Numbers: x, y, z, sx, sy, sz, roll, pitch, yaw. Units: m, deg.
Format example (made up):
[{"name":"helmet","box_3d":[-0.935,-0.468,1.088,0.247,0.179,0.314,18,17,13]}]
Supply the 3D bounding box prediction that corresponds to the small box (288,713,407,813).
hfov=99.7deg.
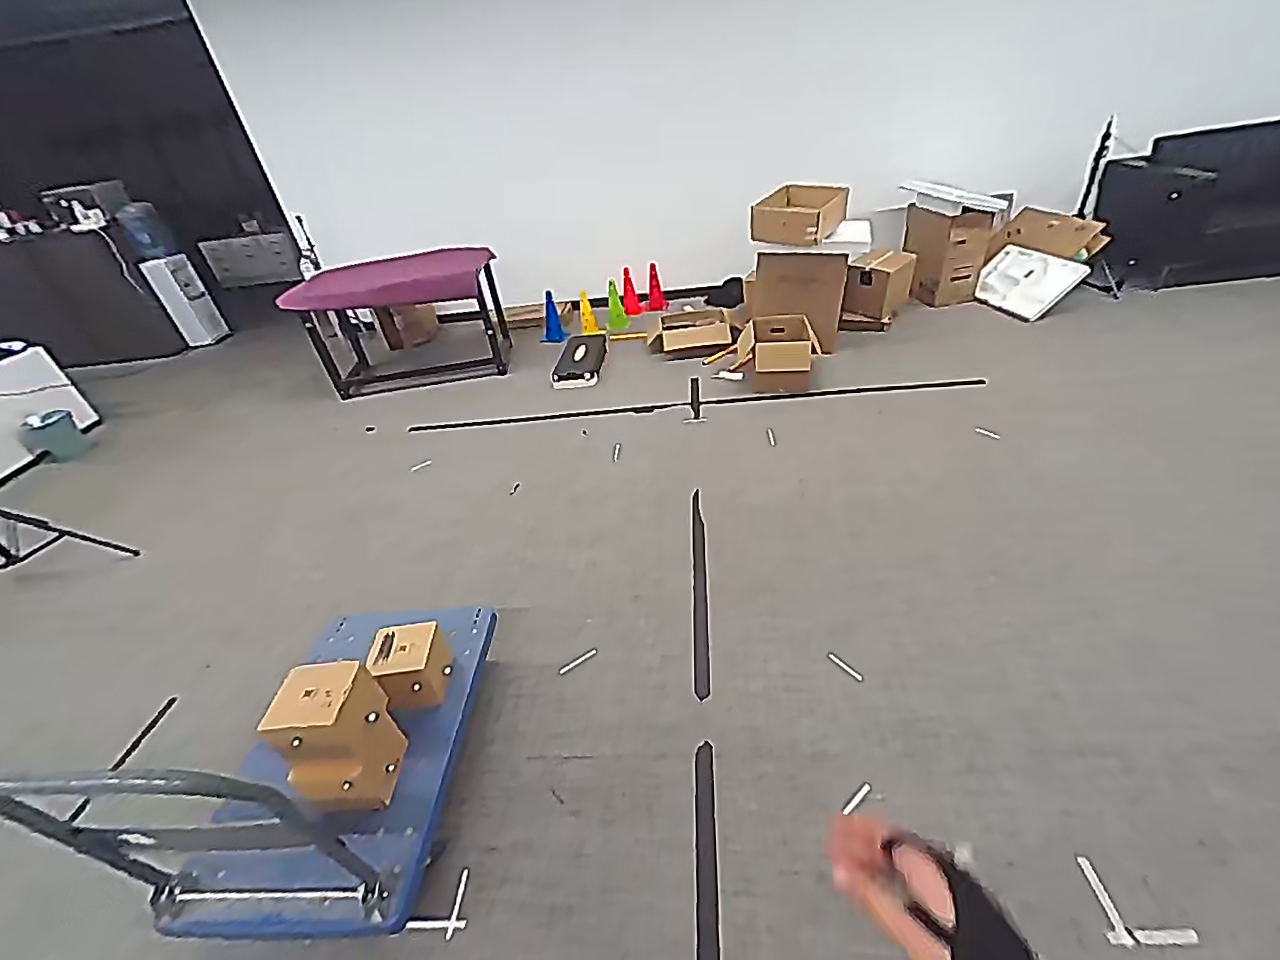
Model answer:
[{"name":"small box","box_3d":[-0.718,0.707,1.349,0.179,0.176,0.168,-6,35,2]}]

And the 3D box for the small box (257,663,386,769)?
[{"name":"small box","box_3d":[-0.737,0.559,1.275,0.179,0.176,0.168,-6,36,2]}]
